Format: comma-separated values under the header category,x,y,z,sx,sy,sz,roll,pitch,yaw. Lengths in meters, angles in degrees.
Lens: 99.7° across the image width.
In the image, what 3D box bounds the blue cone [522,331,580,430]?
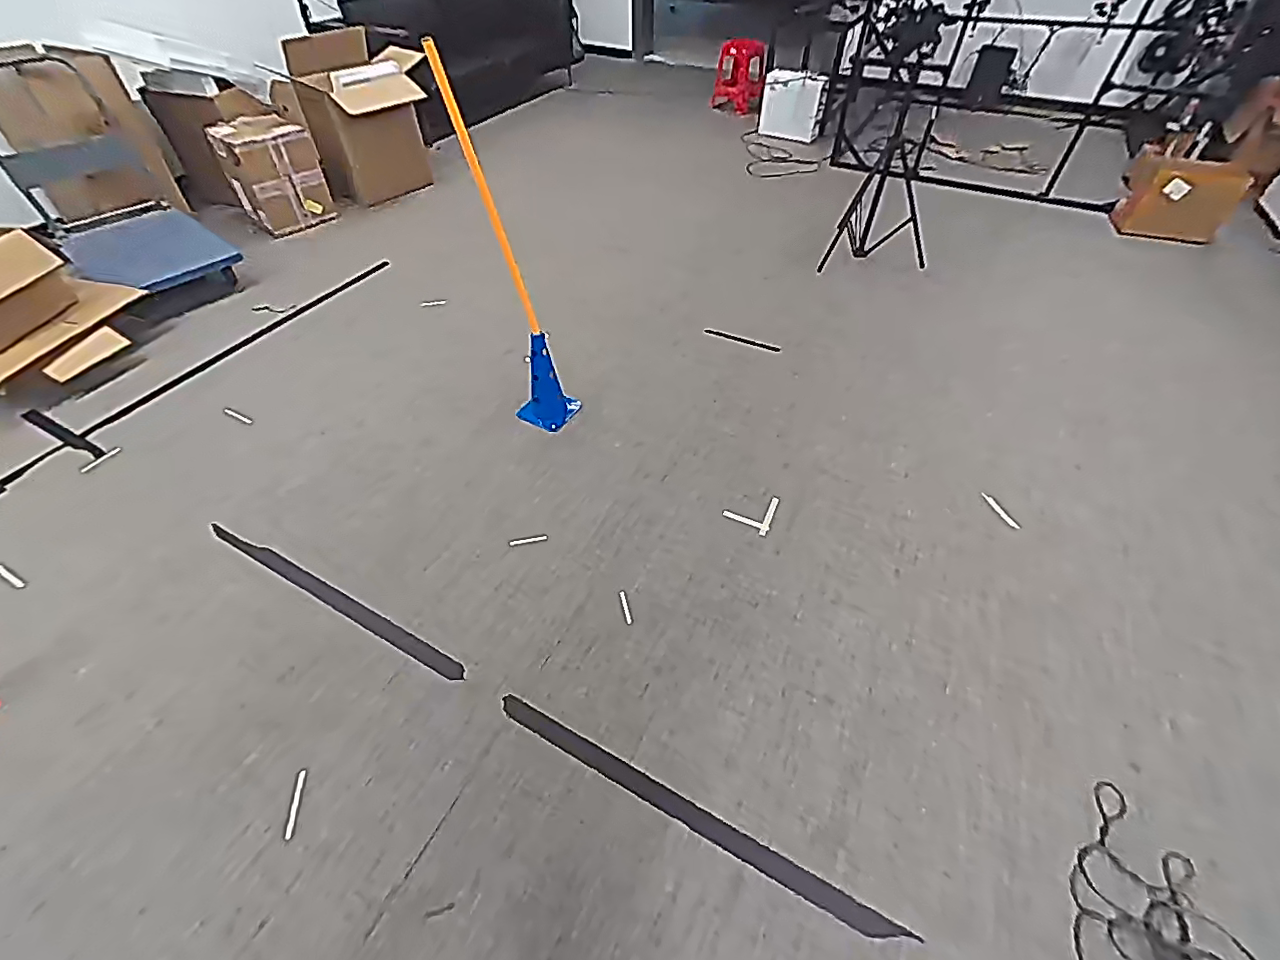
category,x,y,z,sx,sy,sz,roll,pitch,yaw
blue cone,-0.355,-0.390,2.033,0.192,0.380,0.193,25,53,20
